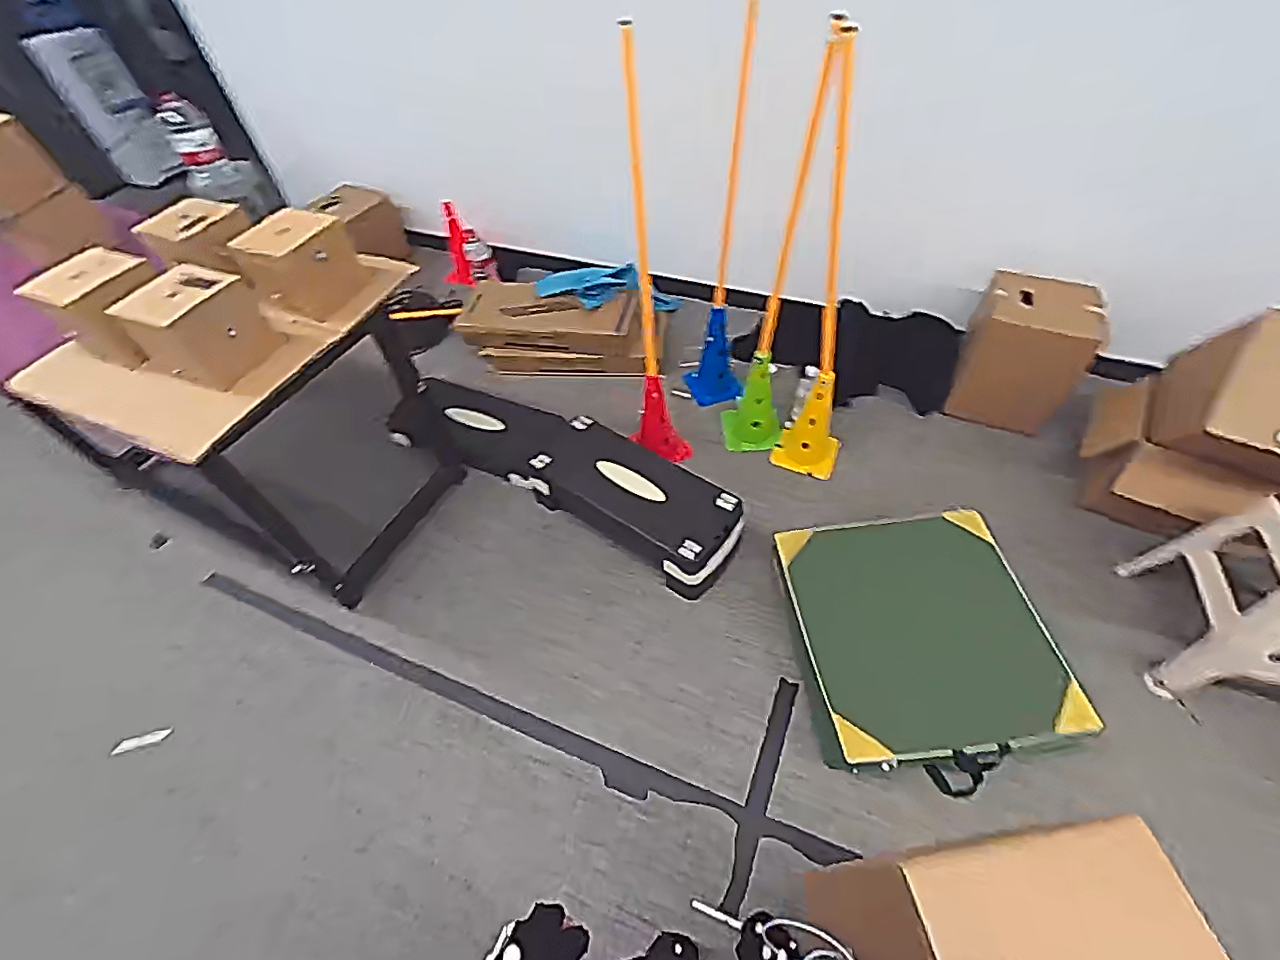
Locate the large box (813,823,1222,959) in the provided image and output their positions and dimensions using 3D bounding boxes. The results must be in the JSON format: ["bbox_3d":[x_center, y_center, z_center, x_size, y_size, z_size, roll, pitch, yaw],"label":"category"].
[{"bbox_3d":[0.467,0.661,0.688,0.320,0.408,0.320,-6,53,-5],"label":"large box"}]
